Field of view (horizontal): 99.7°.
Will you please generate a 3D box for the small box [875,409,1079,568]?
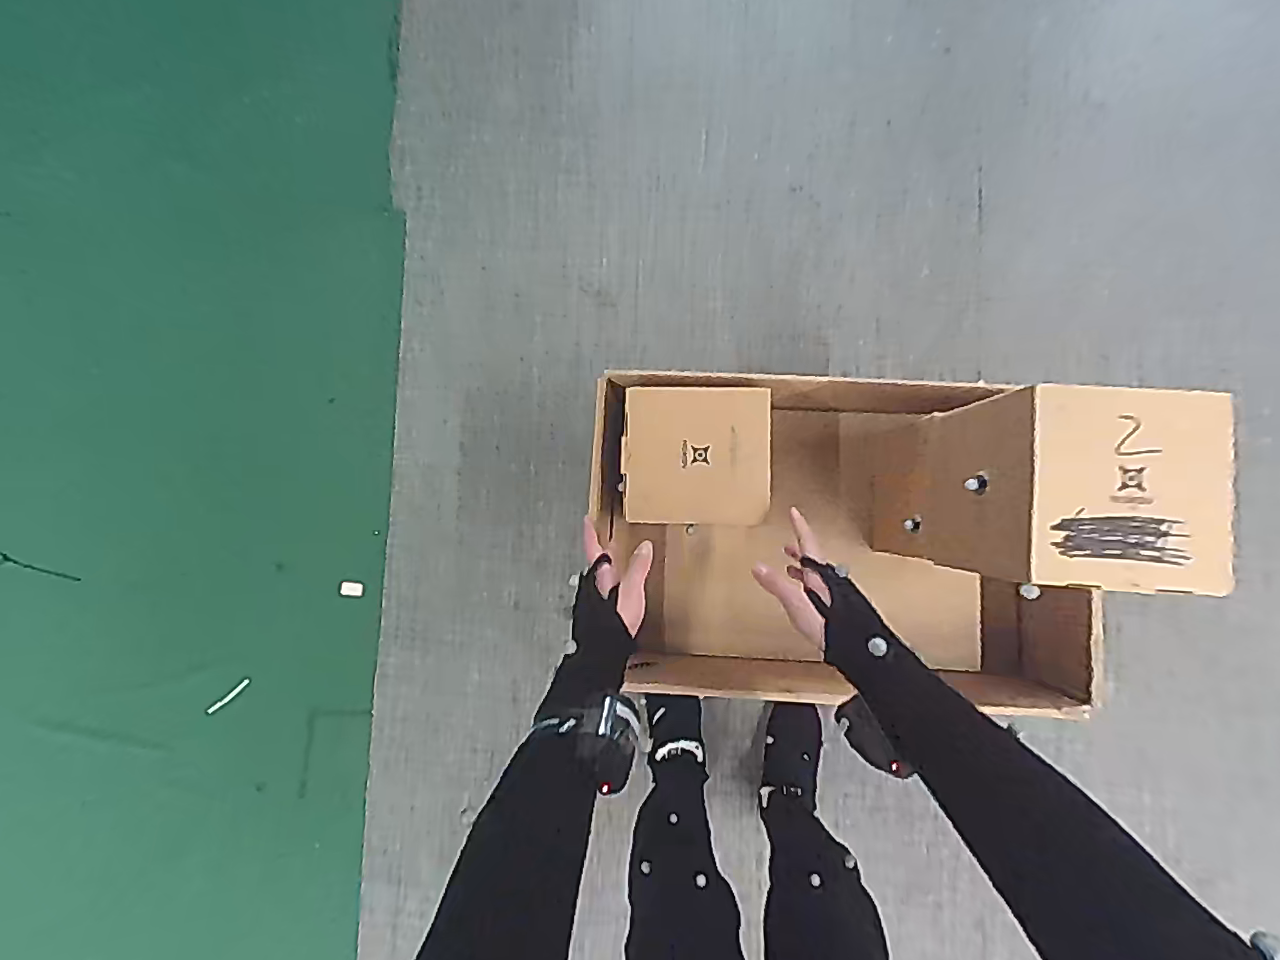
[{"bbox_3d":[0.420,0.013,0.700,0.168,0.176,0.179,4,88,2],"label":"small box"}]
